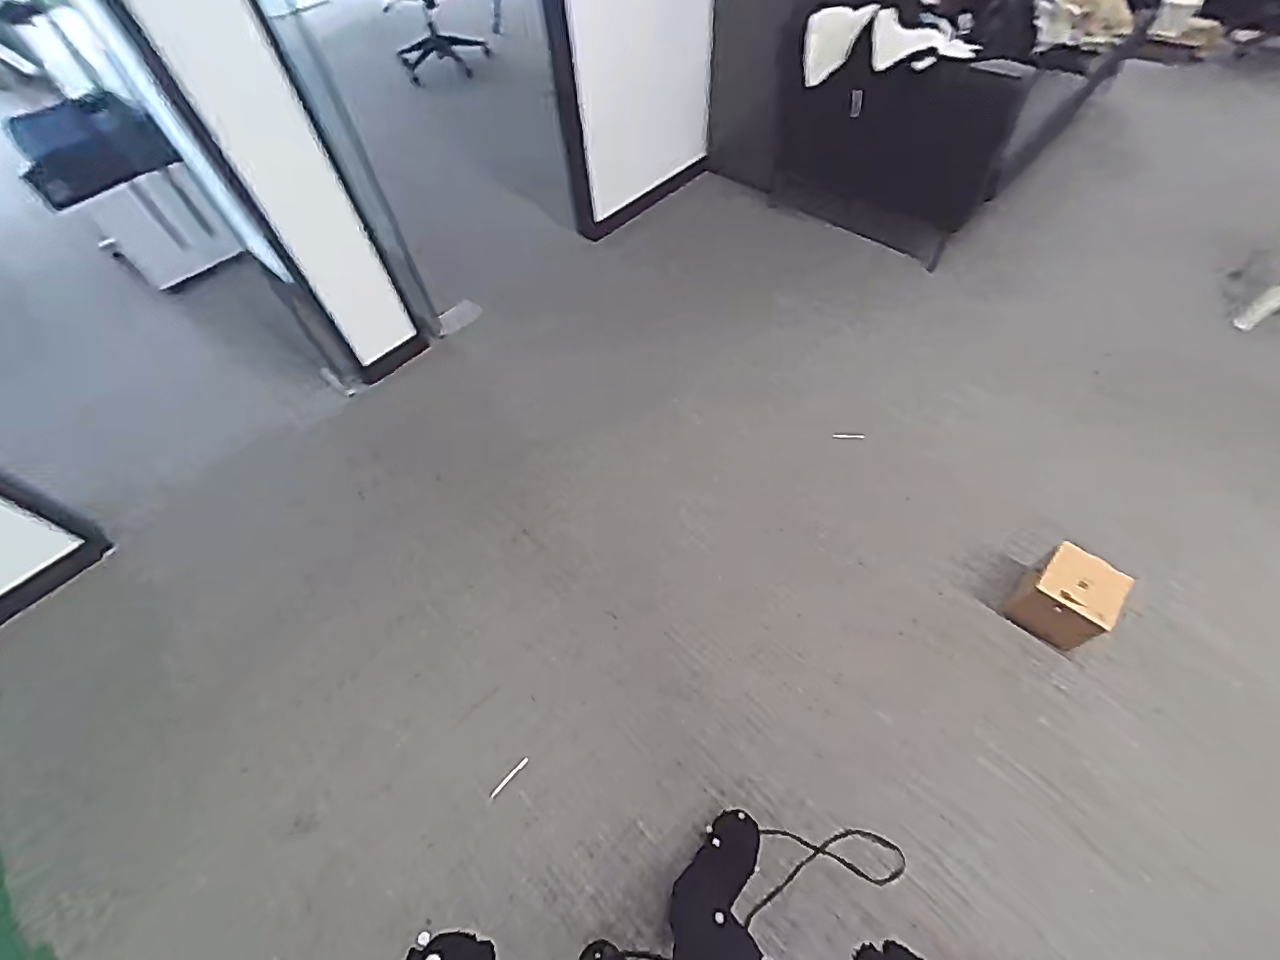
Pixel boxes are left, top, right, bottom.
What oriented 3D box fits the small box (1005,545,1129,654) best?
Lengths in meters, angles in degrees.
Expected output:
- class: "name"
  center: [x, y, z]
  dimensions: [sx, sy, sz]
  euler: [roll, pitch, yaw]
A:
- class: "small box"
  center: [1.074, 0.306, 1.375]
  dimensions: [0.168, 0.176, 0.179]
  euler: [36, 64, 25]
